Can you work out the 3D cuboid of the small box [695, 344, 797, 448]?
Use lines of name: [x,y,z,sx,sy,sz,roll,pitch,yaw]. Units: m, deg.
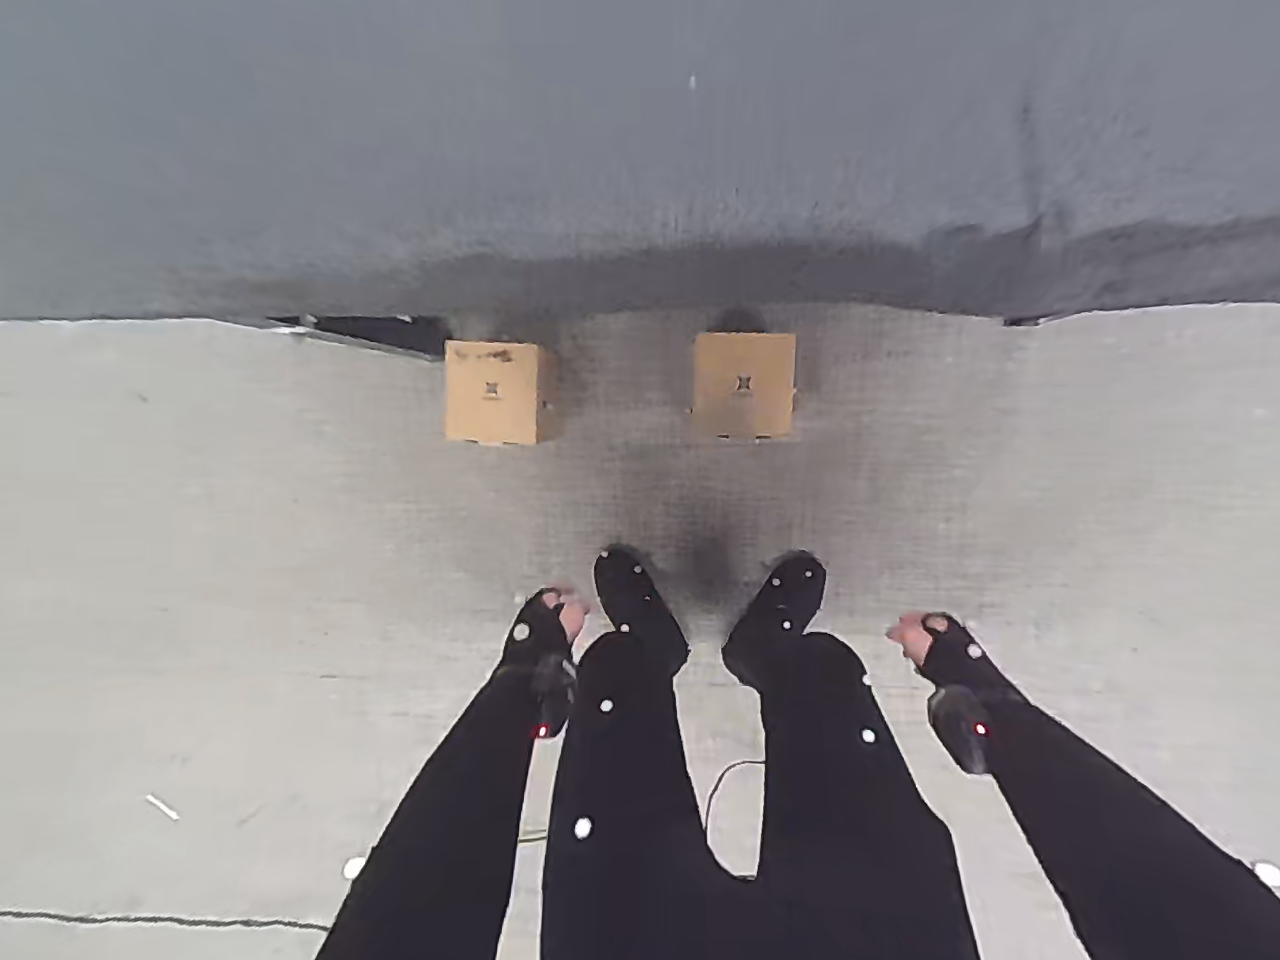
small box: [0.187,-0.150,0.995,0.168,0.176,0.179,0,94,4]
